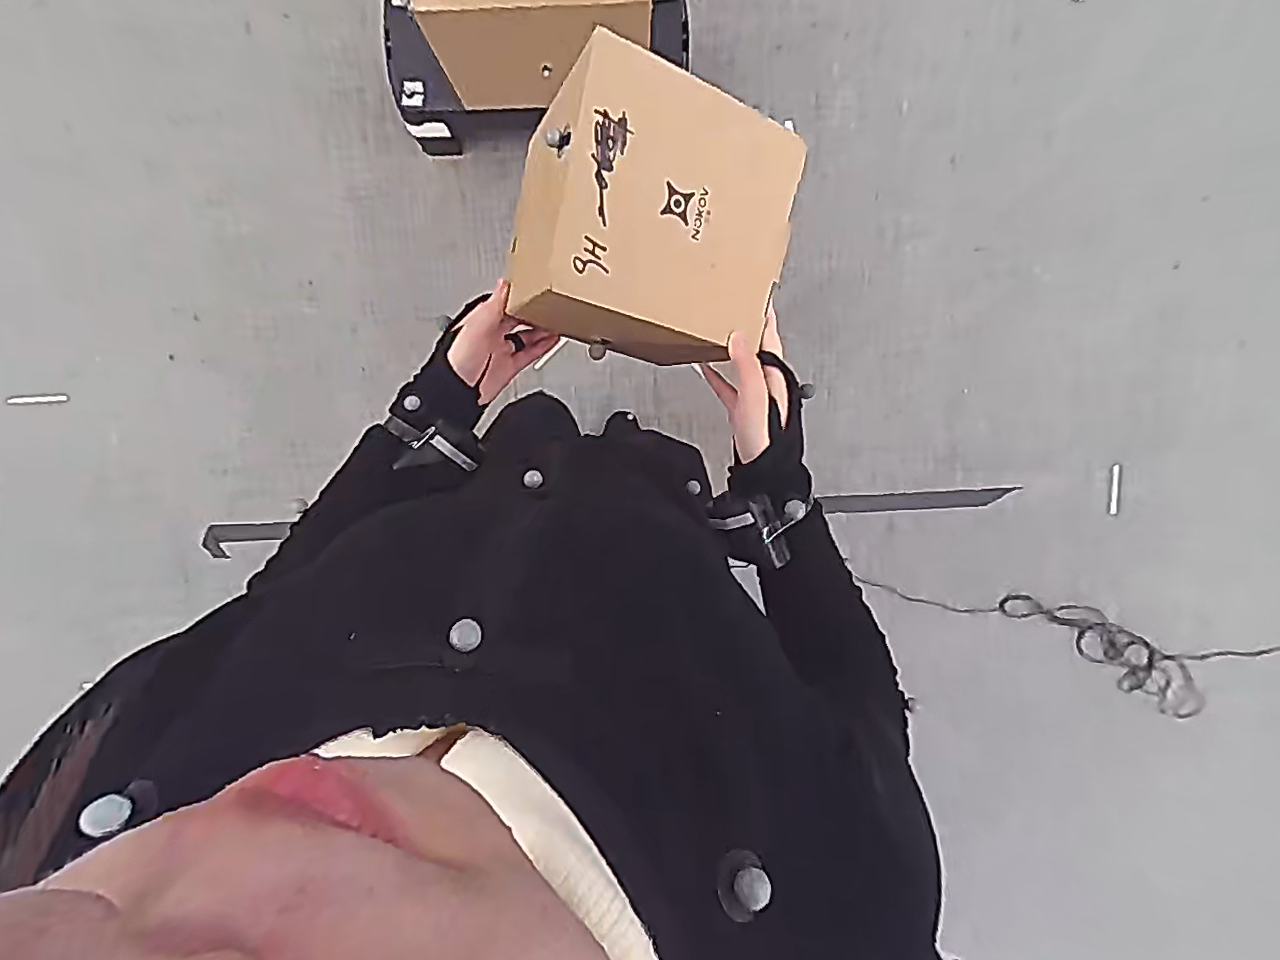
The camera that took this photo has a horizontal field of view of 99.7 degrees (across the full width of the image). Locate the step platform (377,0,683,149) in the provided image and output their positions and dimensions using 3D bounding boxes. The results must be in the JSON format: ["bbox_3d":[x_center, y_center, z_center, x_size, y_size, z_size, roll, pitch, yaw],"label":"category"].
[{"bbox_3d":[-0.241,-0.952,1.260,0.684,0.204,0.286,3,97,0],"label":"step platform"}]

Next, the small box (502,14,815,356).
[{"bbox_3d":[0.004,-0.203,0.440,0.179,0.176,0.168,11,93,-27],"label":"small box"}]

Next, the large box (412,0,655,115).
[{"bbox_3d":[-0.184,-0.943,1.022,0.408,0.320,0.320,-3,97,0],"label":"large box"}]
